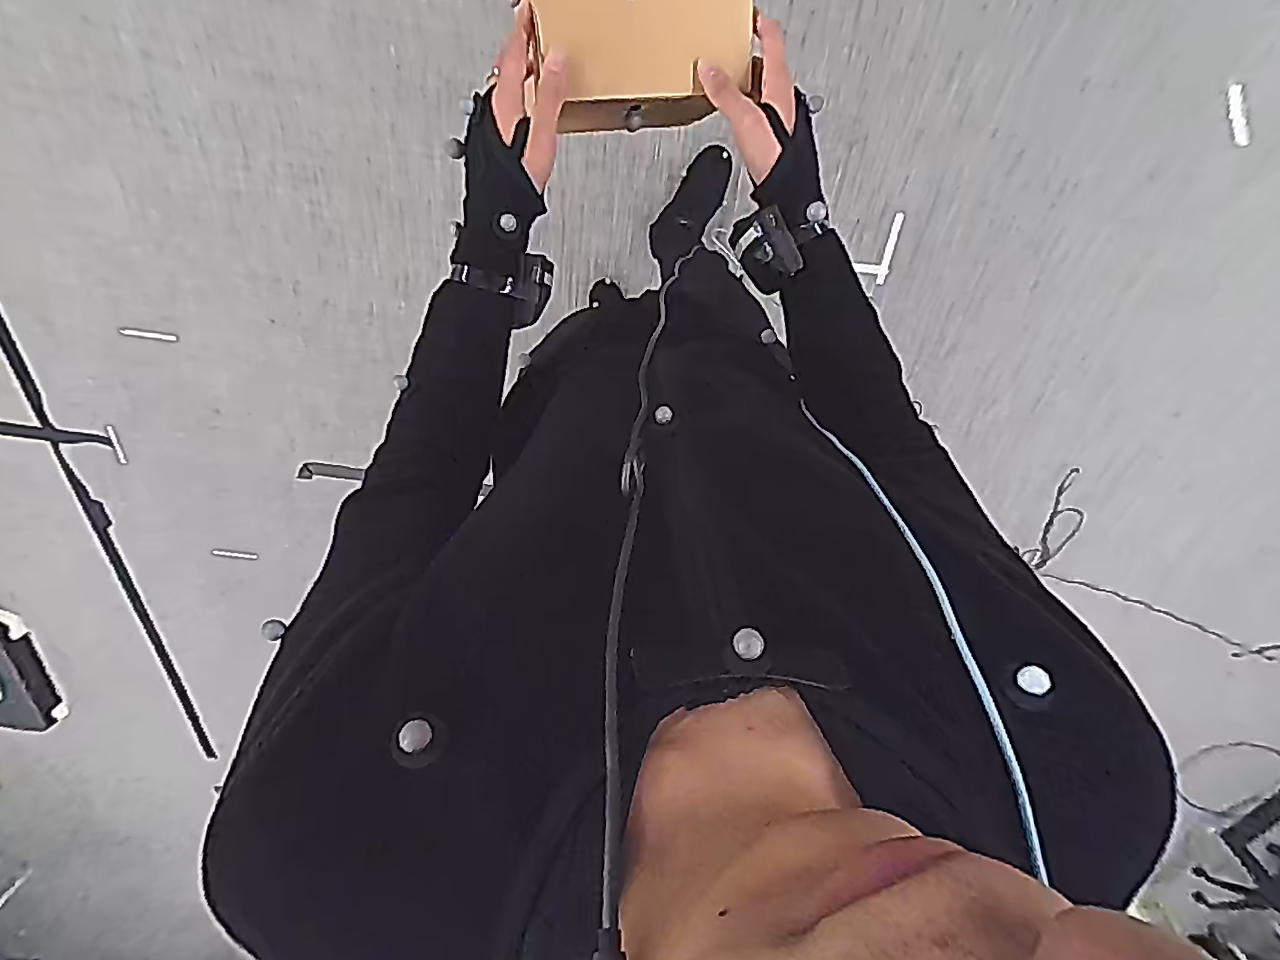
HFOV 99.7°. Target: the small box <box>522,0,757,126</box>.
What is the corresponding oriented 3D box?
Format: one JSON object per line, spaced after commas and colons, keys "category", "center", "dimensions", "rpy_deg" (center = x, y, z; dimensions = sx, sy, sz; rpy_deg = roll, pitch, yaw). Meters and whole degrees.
{"category": "small box", "center": [-0.010, -0.422, 0.476], "dimensions": [0.179, 0.176, 0.168], "rpy_deg": [-9, 117, -9]}
